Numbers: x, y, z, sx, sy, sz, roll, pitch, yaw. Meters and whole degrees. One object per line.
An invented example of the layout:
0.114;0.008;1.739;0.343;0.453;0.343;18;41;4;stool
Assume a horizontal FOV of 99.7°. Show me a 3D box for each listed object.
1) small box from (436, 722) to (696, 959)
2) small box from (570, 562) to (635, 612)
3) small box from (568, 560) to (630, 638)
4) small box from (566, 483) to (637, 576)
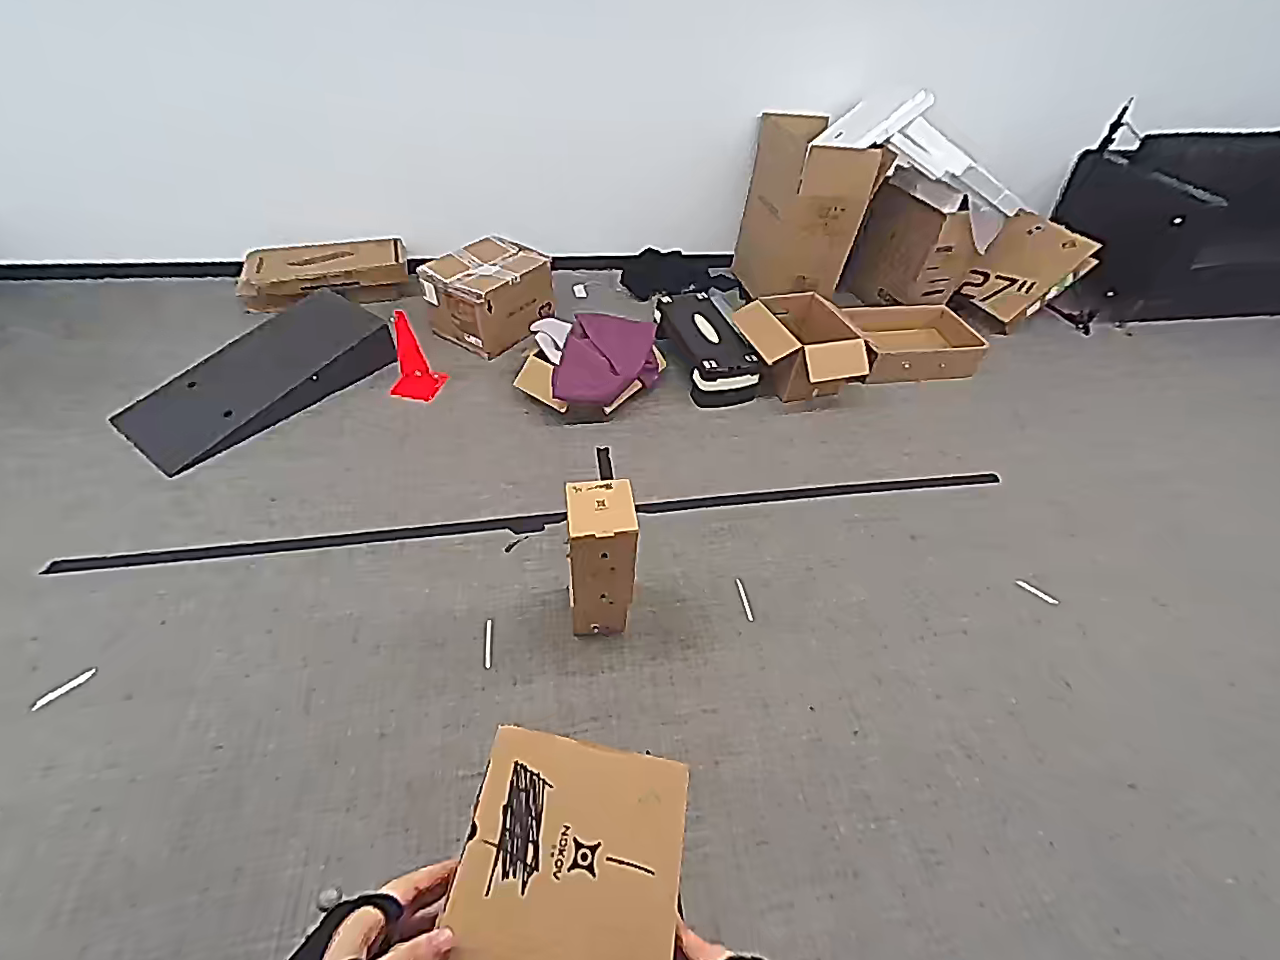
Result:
-0.060;0.343;0.488;0.179;0.176;0.168;13;50;-2;small box
-0.109;0.243;1.500;0.168;0.176;0.179;-5;47;-8;small box
-0.127;0.351;1.623;0.168;0.176;0.179;-5;48;-9;small box
-0.100;0.131;1.380;0.168;0.176;0.179;-4;47;-8;small box
